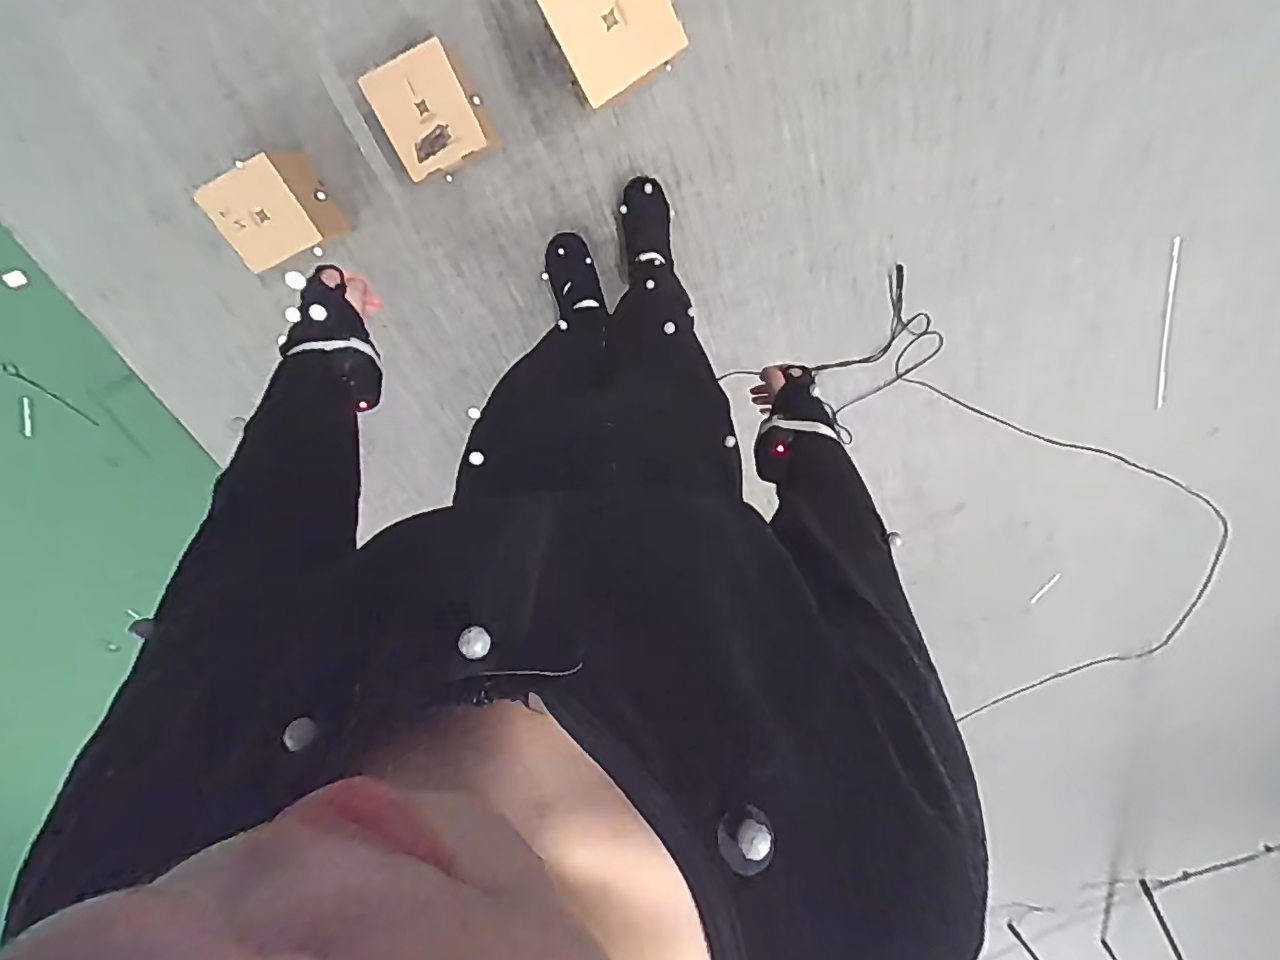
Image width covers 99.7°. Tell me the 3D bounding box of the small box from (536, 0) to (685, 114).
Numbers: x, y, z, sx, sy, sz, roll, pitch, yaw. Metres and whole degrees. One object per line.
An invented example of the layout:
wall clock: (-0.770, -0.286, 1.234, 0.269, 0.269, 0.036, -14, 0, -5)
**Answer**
small box: (-0.045, -0.729, 0.881, 0.179, 0.176, 0.168, -27, 119, 12)

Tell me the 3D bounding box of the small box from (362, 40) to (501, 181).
small box: (-0.394, -0.714, 1.061, 0.168, 0.176, 0.179, -20, 119, 9)

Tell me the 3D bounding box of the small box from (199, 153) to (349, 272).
small box: (-0.745, -0.564, 1.133, 0.179, 0.176, 0.168, -21, 119, 9)
